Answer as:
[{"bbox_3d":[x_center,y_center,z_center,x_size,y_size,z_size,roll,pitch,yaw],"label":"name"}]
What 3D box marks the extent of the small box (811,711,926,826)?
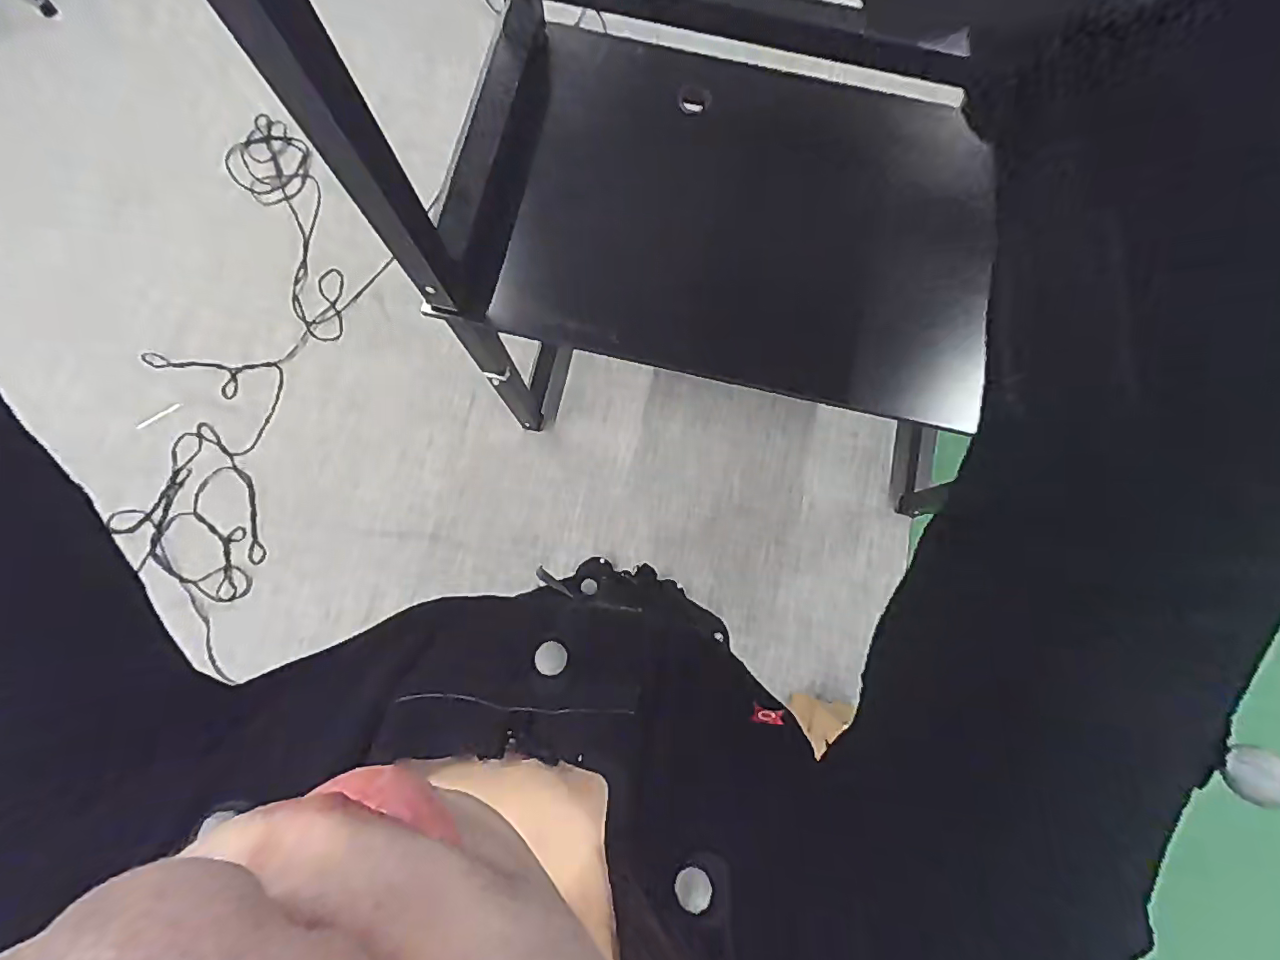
[{"bbox_3d":[0.499,0.629,1.203,0.179,0.176,0.168,13,79,0],"label":"small box"}]
